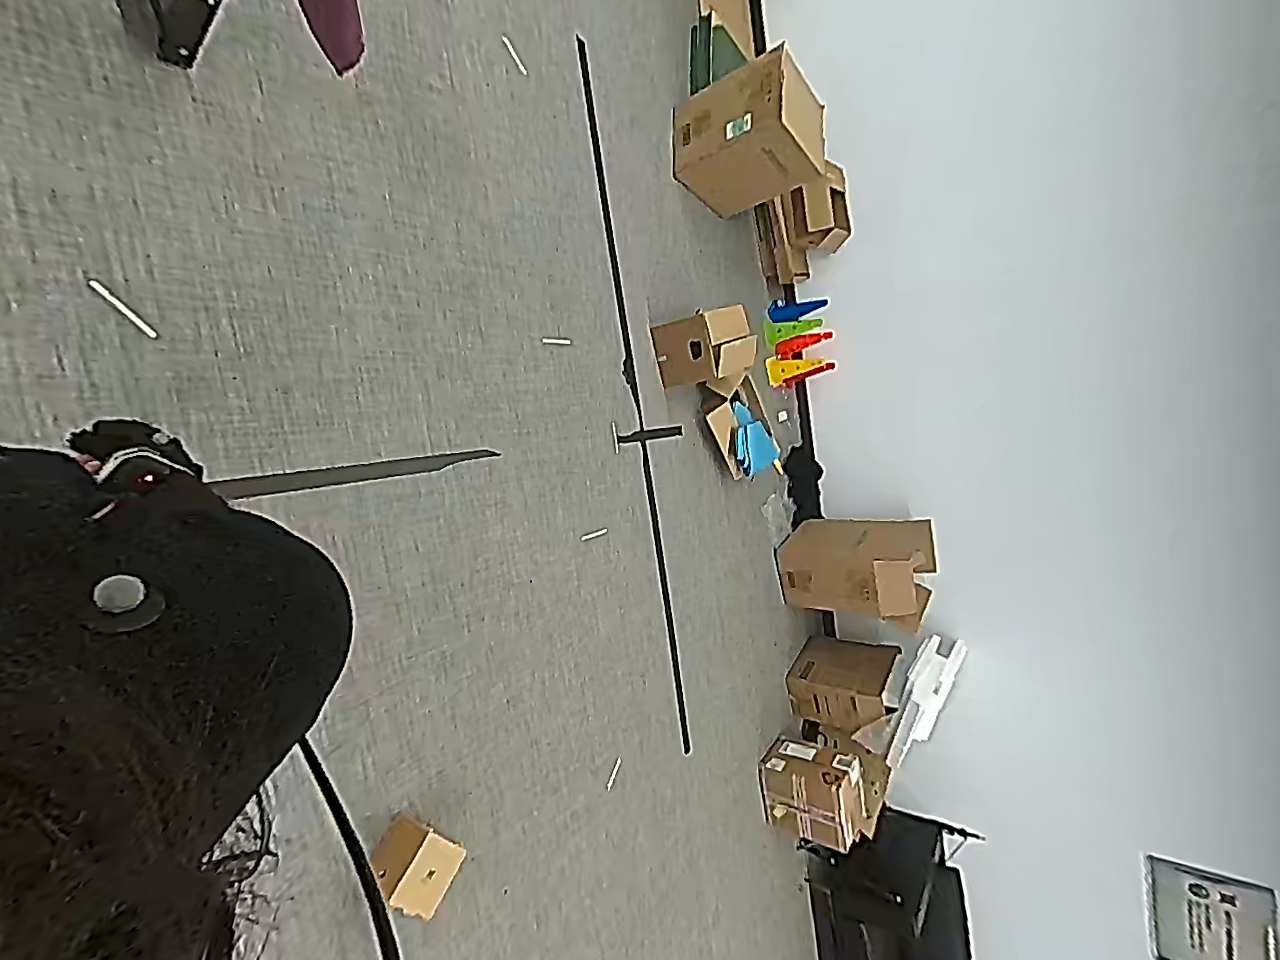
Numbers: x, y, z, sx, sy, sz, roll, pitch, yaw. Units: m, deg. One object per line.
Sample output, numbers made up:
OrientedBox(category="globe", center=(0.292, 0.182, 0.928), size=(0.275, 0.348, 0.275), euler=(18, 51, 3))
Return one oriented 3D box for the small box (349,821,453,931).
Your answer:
OrientedBox(category="small box", center=(-0.661, 1.080, 1.484), size=(0.168, 0.176, 0.179), euler=(58, 45, -33))
